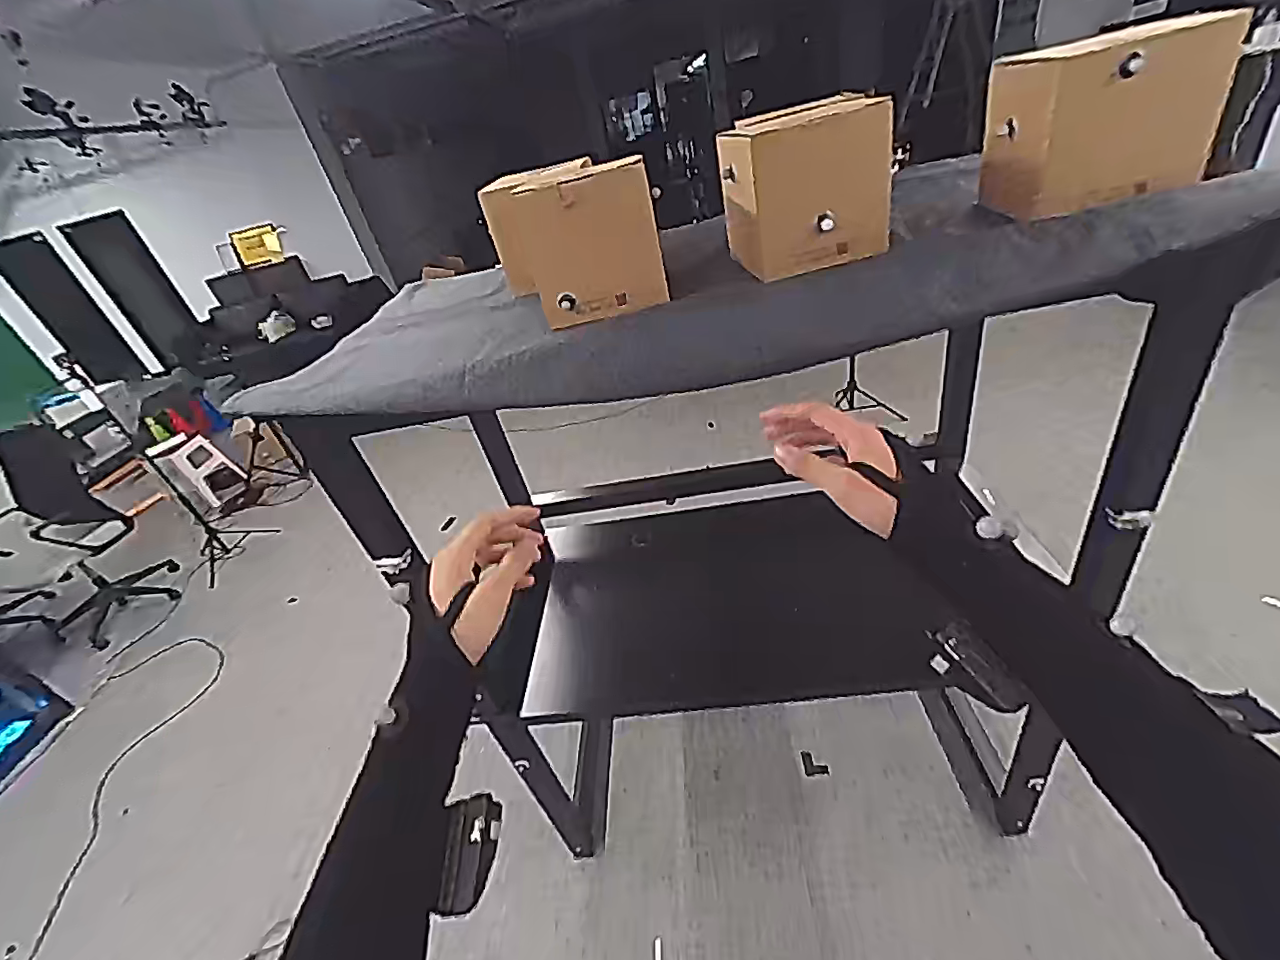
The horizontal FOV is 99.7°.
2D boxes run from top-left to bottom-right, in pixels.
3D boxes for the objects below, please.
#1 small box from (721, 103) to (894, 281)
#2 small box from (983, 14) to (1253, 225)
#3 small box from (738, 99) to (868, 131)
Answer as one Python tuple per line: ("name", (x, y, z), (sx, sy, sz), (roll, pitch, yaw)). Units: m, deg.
("small box", (0.213, -0.379, 0.717), (0.168, 0.176, 0.179), (-14, 34, 2))
("small box", (0.539, -0.418, 0.649), (0.168, 0.176, 0.179), (-8, 33, 12))
("small box", (0.261, -0.508, 0.889), (0.179, 0.176, 0.168), (-8, 33, 10))
